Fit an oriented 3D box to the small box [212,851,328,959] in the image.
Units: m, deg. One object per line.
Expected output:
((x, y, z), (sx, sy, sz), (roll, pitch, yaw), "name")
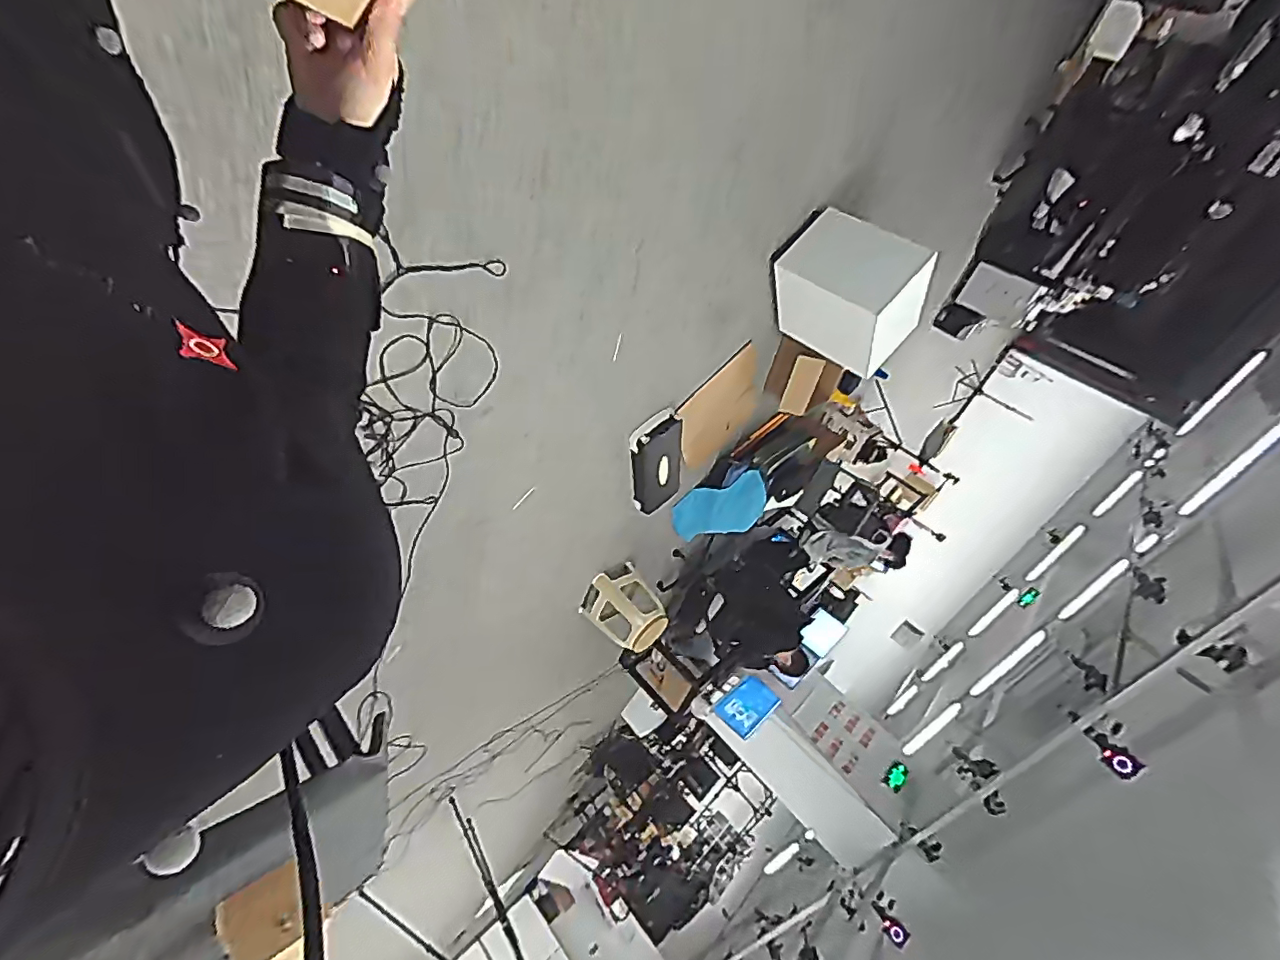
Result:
((-0.839, 1.000, 1.219), (0.179, 0.176, 0.168), (-16, 139, -50), "small box")
